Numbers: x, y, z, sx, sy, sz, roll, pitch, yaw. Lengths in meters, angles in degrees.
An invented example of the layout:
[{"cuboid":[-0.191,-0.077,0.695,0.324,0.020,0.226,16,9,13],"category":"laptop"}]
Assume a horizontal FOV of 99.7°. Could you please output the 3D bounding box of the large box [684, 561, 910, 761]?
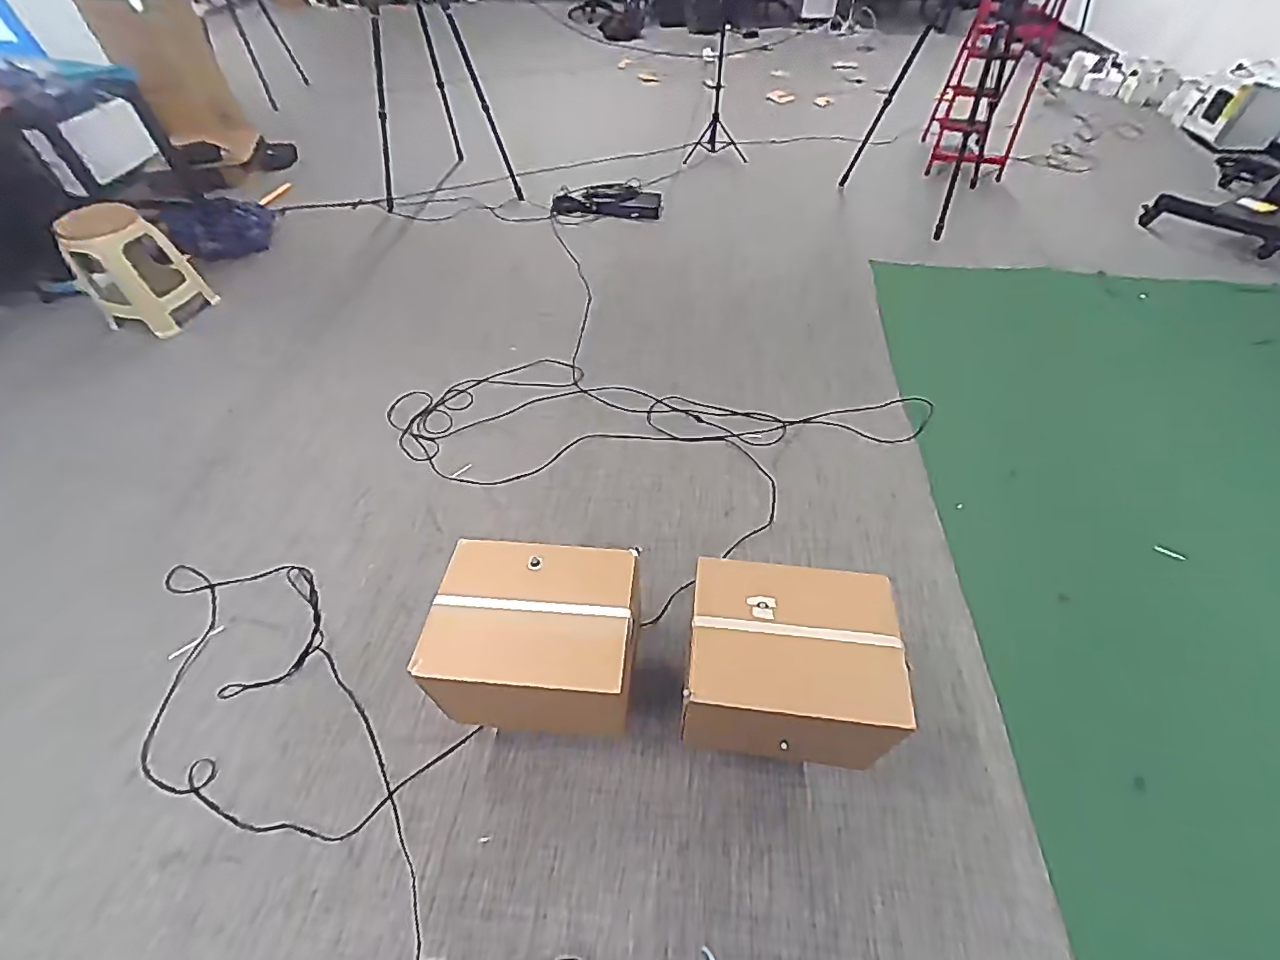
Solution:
[{"cuboid":[0.313,0.403,1.194,0.408,0.320,0.320,5,50,6],"category":"large box"}]
